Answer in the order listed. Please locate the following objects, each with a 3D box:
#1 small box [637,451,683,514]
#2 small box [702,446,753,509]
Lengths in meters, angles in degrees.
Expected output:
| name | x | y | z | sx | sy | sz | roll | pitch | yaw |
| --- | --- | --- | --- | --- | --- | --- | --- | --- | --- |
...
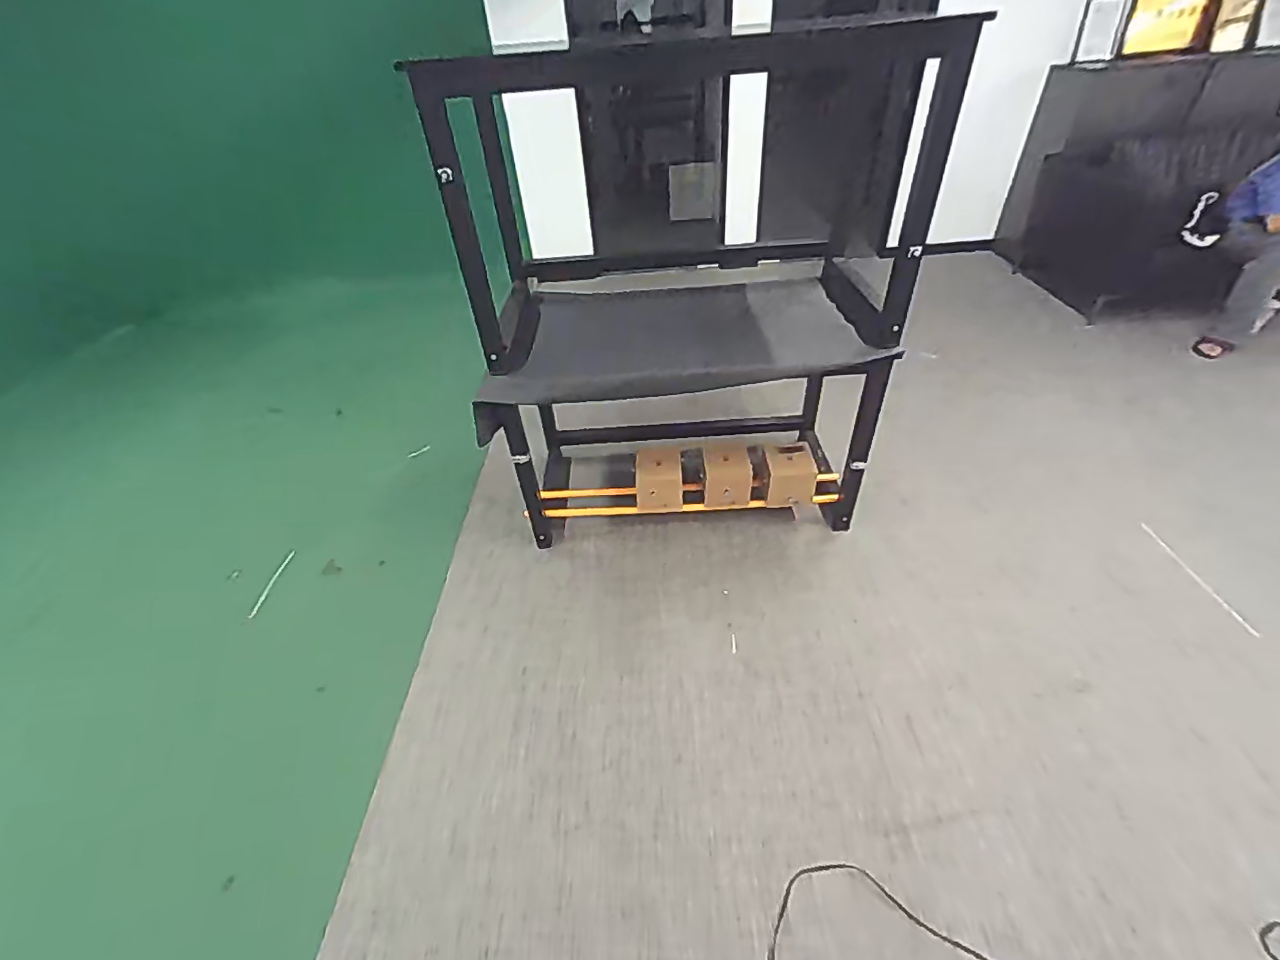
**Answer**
| name | x | y | z | sx | sy | sz | roll | pitch | yaw |
| --- | --- | --- | --- | --- | --- | --- | --- | --- | --- |
| small box | 0.076 | 0.014 | 2.016 | 0.168 | 0.176 | 0.179 | -2 | 41 | 2 |
| small box | 0.322 | -0.004 | 2.011 | 0.168 | 0.176 | 0.179 | -4 | 41 | 1 |
